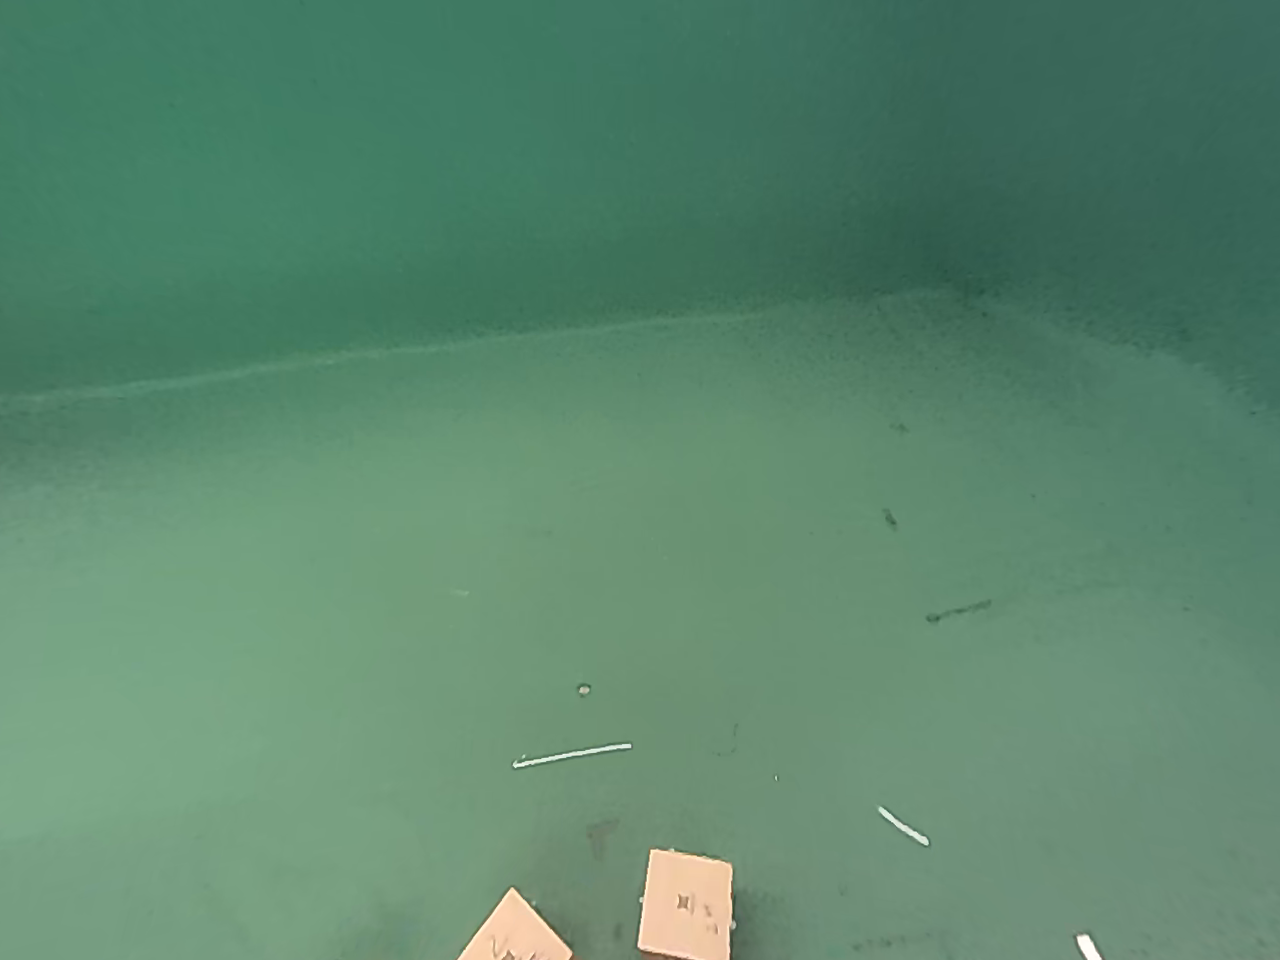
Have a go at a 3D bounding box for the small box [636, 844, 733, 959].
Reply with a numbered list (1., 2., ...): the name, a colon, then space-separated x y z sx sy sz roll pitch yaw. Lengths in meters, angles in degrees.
1. small box: 0.095 0.887 1.120 0.179 0.176 0.168 5 43 9
